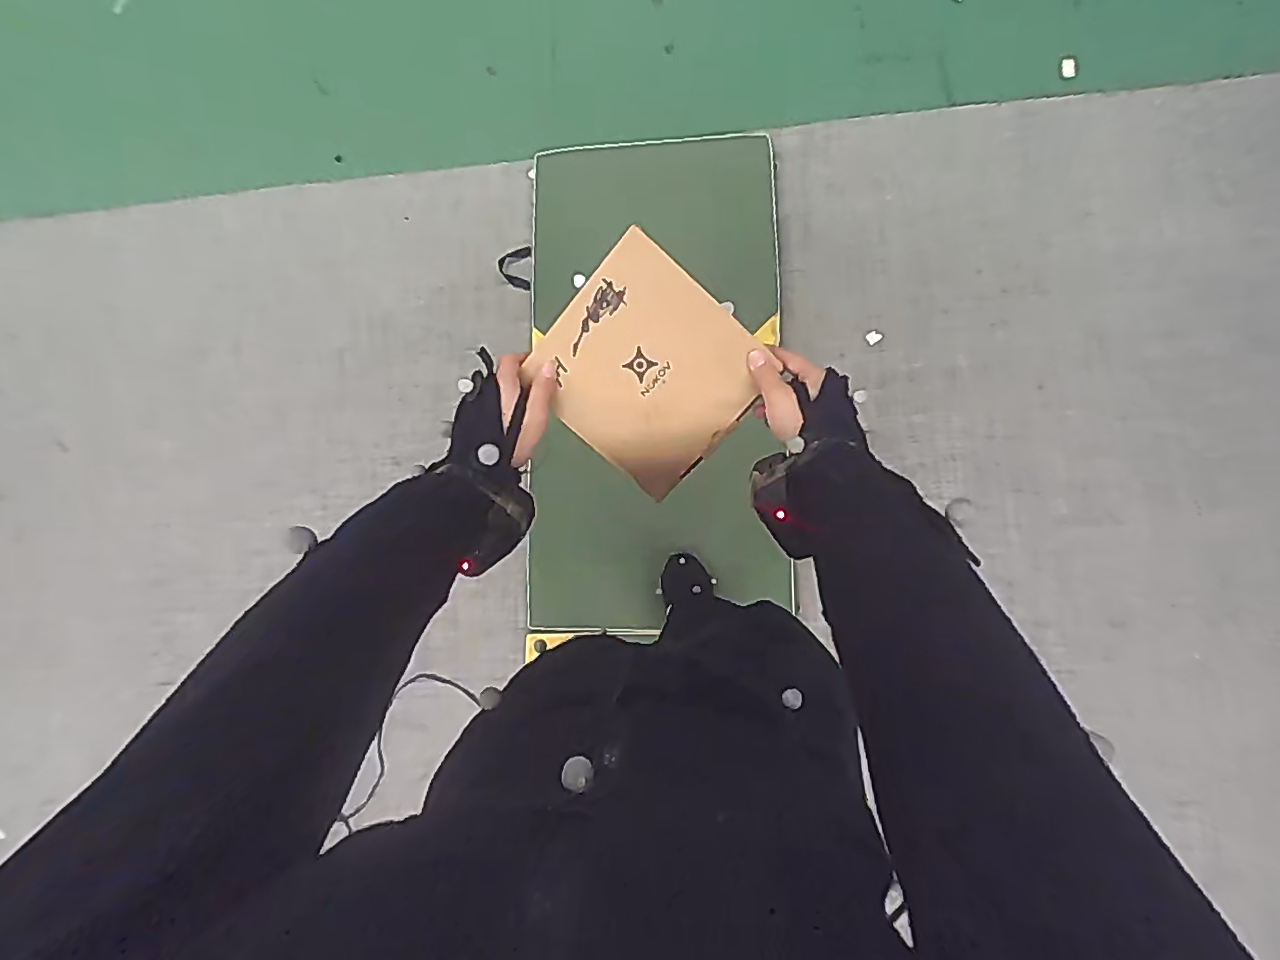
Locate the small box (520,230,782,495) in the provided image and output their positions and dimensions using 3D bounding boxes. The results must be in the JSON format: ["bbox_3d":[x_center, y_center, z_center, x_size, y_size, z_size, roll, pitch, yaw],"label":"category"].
[{"bbox_3d":[0.014,-0.118,0.553,0.179,0.176,0.168,41,104,-7],"label":"small box"}]
